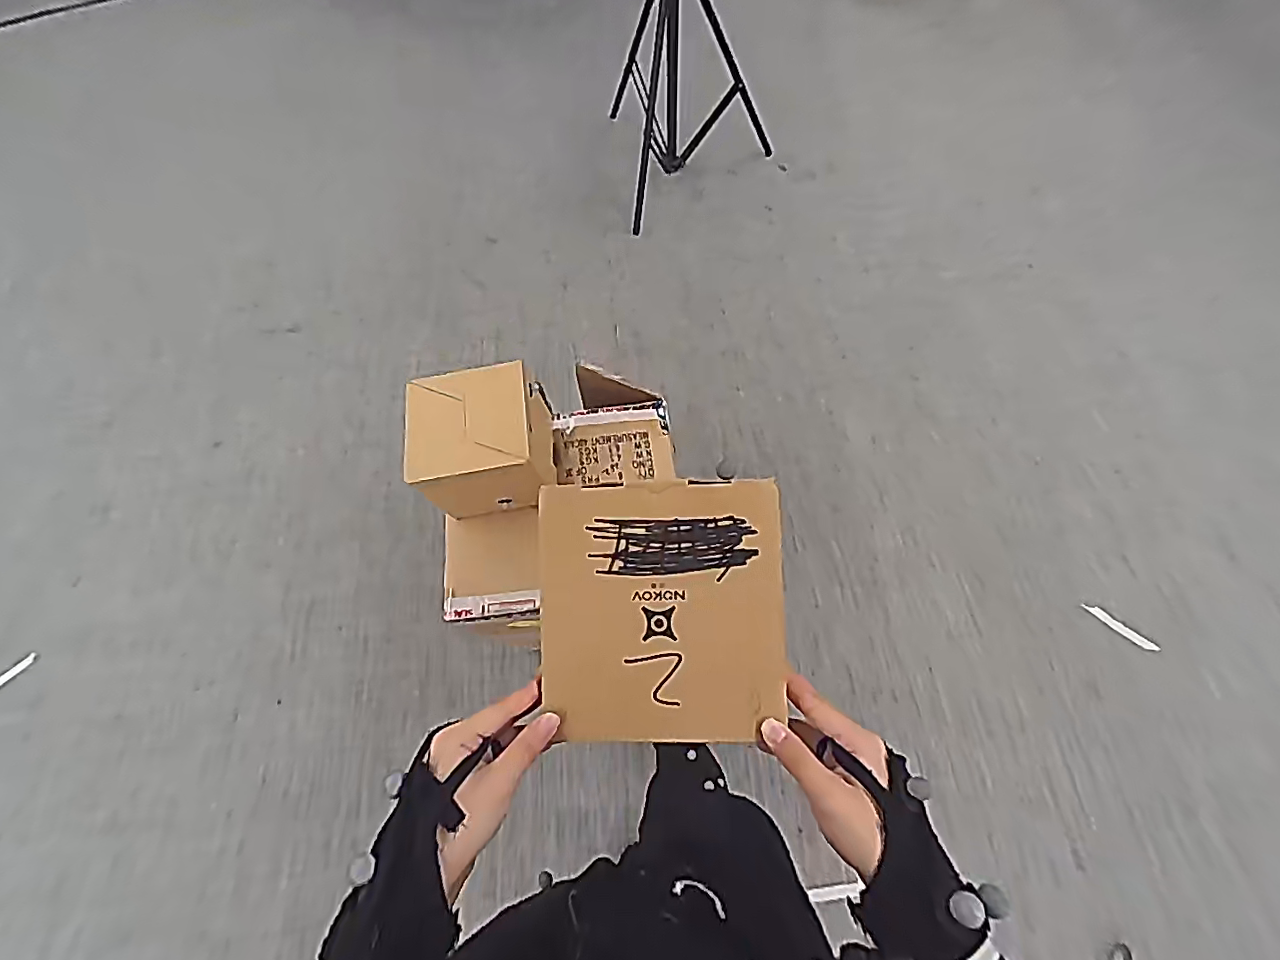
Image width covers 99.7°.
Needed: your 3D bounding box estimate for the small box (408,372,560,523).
[{"bbox_3d":[-0.234,-0.047,0.837,0.179,0.176,0.168,-10,67,2],"label":"small box"}]
